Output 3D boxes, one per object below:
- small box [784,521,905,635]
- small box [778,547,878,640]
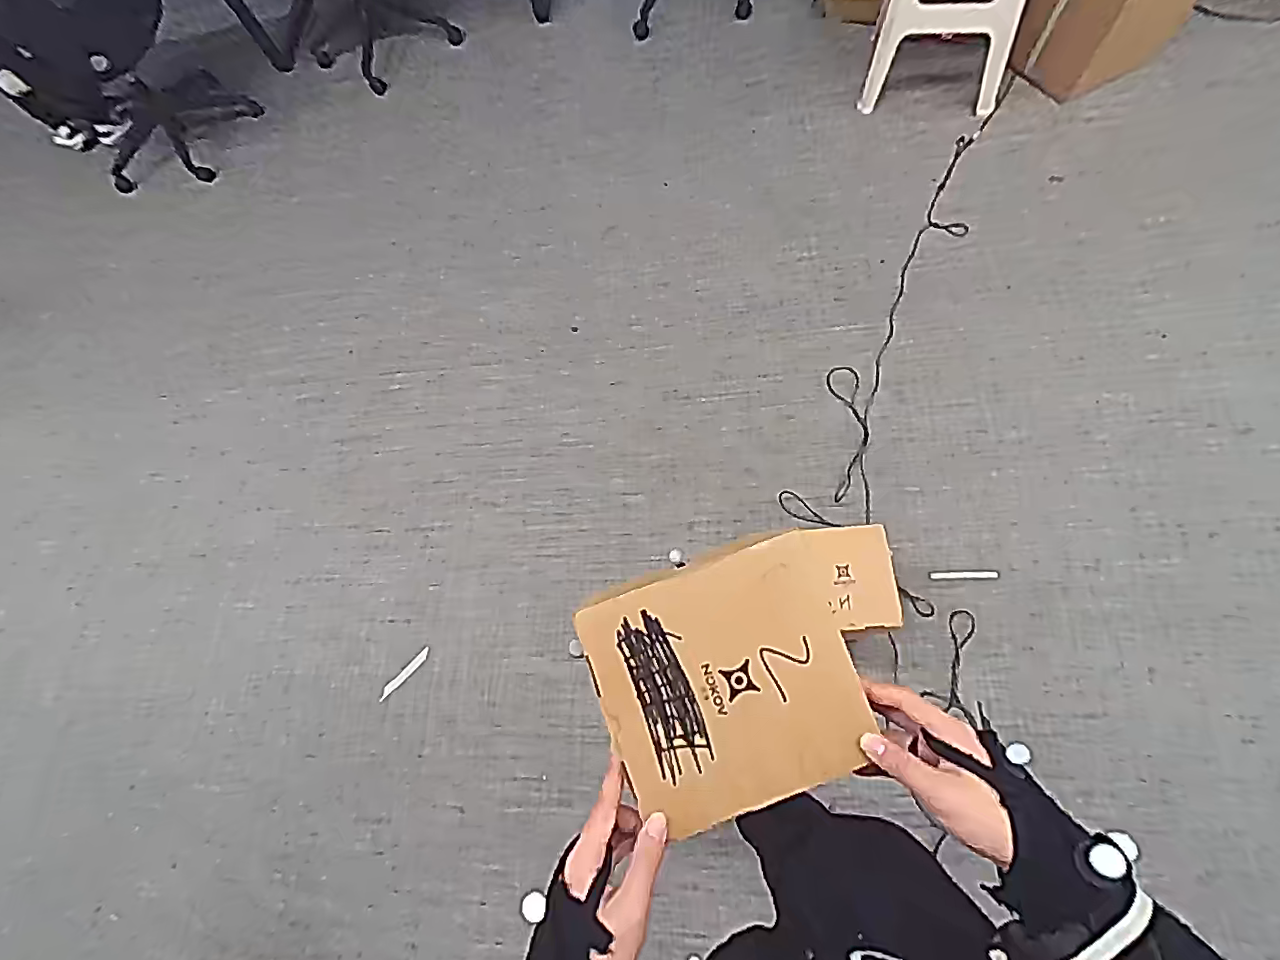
[{"bbox_3d":[0.361,0.186,0.991,0.168,0.176,0.179,-6,69,9],"label":"small box"},{"bbox_3d":[0.388,0.242,1.144,0.168,0.176,0.179,-4,70,9],"label":"small box"}]
